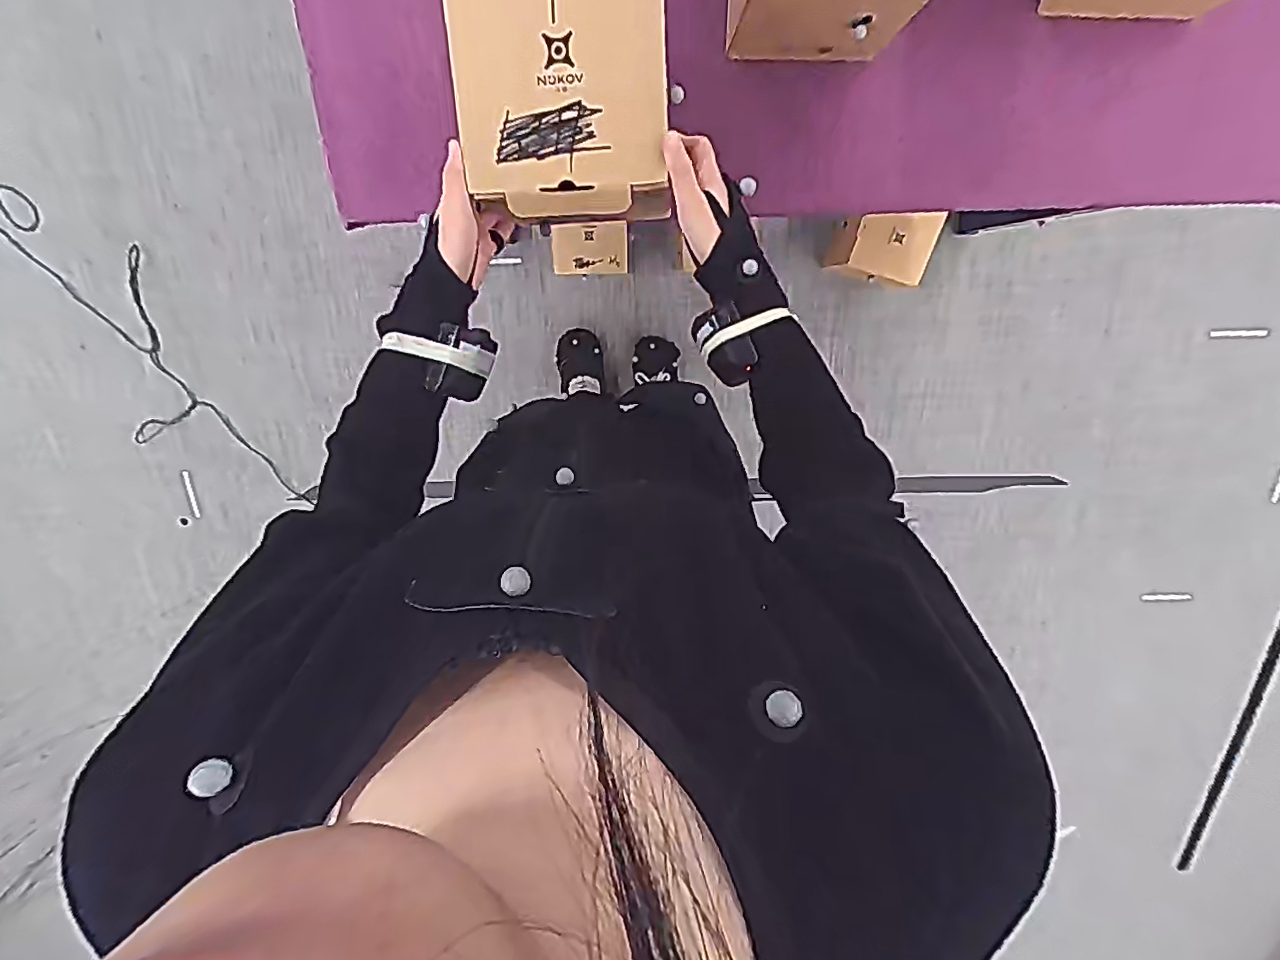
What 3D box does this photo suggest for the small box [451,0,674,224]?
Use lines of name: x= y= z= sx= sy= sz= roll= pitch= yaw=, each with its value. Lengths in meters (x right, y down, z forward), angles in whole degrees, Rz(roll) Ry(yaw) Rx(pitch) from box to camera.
small box: x=-0.053 y=-0.336 z=0.486 sx=0.168 sy=0.176 sz=0.179 roll=-2 pitch=107 yaw=3

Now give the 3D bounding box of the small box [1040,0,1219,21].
small box: x=0.527 y=-0.561 z=0.496 sx=0.179 sy=0.176 sz=0.168 roll=0 pitch=108 yaw=-1

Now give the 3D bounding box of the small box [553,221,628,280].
small box: x=-0.111 y=-0.564 z=1.251 sx=0.168 sy=0.176 sz=0.179 roll=1 pitch=107 yaw=-2

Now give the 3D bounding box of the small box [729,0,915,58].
small box: x=0.180 y=-0.526 z=0.501 sx=0.168 sy=0.176 sz=0.179 roll=-1 pitch=107 yaw=-2

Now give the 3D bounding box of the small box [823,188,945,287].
small box: x=0.562 y=-0.561 z=1.269 sx=0.179 sy=0.176 sz=0.168 roll=15 pitch=109 yaw=-5
